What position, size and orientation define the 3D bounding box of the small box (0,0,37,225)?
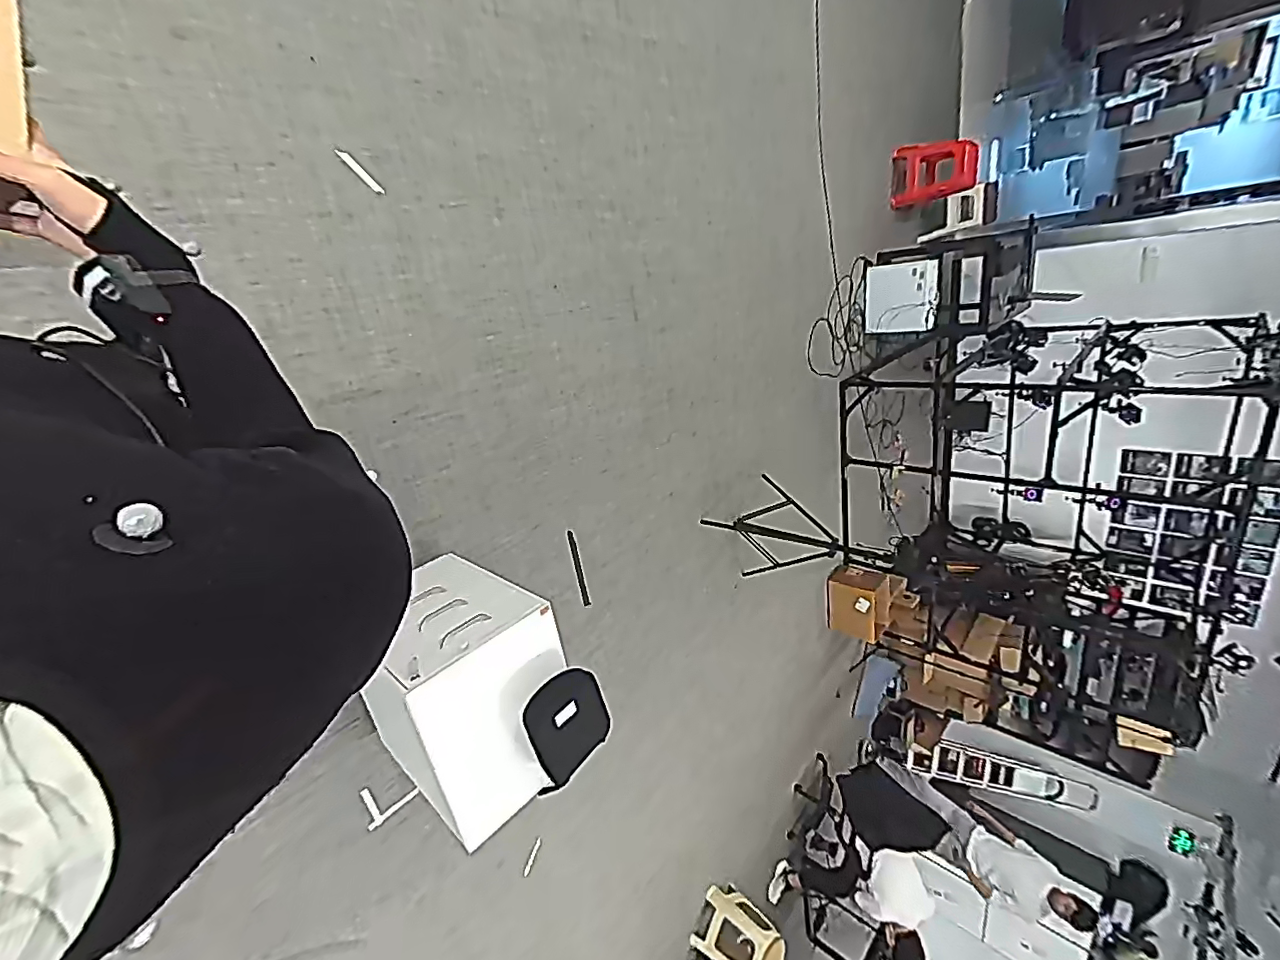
[{"bbox_3d":[-0.592,-0.304,0.395,0.168,0.176,0.179,-4,91,-61],"label":"small box"}]
